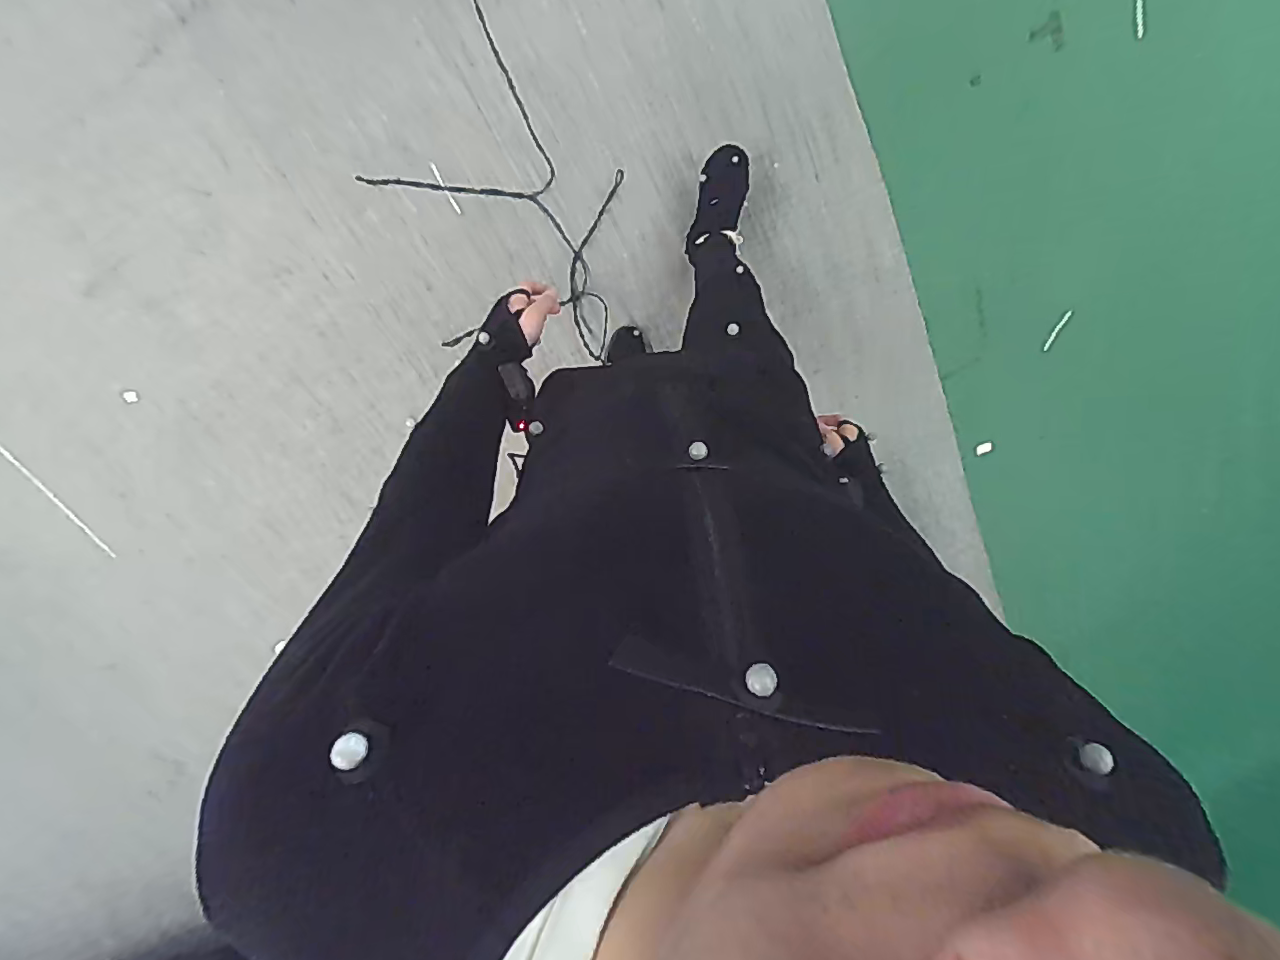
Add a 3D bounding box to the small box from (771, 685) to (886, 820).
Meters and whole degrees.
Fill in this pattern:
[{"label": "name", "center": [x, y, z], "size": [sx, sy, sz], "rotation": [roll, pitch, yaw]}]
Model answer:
[{"label": "small box", "center": [0.404, 0.587, 1.176], "size": [0.168, 0.176, 0.179], "rotation": [-22, 110, 6]}]
